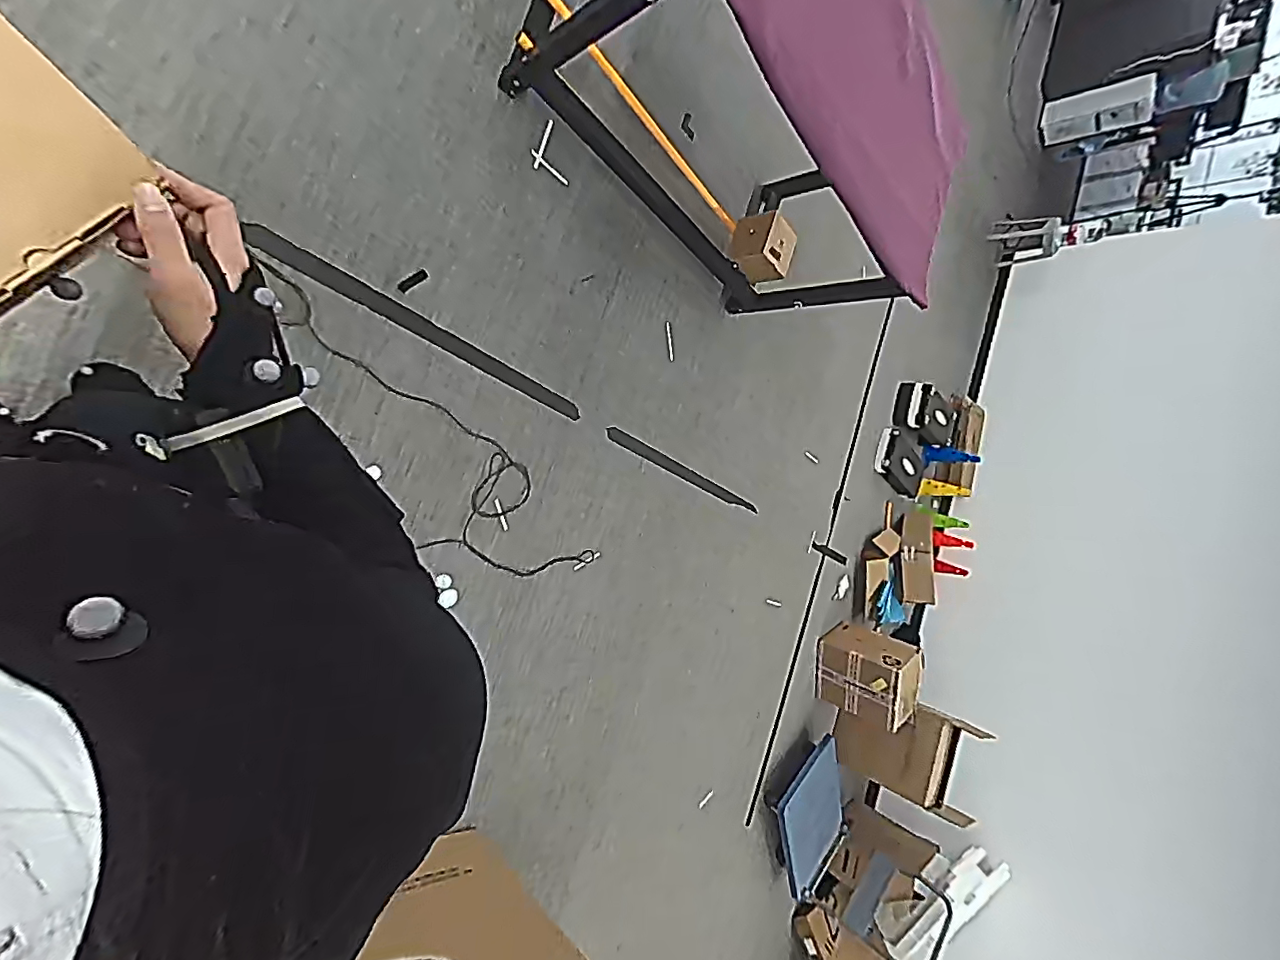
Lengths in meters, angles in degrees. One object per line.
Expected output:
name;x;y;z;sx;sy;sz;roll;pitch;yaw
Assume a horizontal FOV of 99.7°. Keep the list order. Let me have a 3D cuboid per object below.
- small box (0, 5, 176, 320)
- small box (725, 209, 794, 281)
small box;-0.414;-0.186;0.292;0.168;0.176;0.179;-53;134;-20
small box;0.436;-0.856;1.992;0.168;0.176;0.179;26;79;-44
